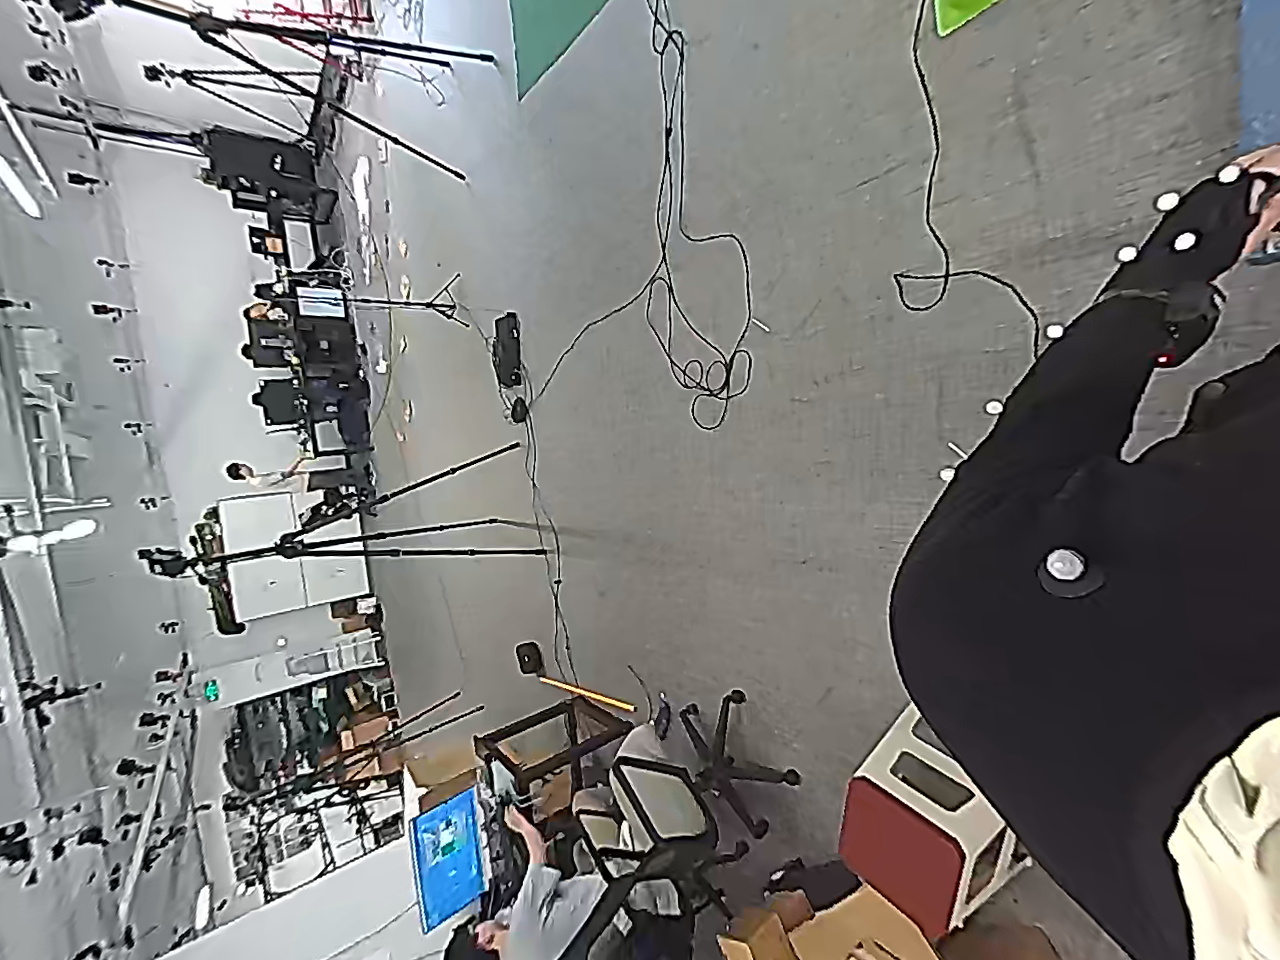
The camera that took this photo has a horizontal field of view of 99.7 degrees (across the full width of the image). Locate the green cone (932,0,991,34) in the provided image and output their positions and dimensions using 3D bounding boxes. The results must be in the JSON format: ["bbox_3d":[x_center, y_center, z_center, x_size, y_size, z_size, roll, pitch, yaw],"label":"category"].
[{"bbox_3d":[0.712,-1.280,1.284,0.202,0.368,0.200,-6,93,55],"label":"green cone"}]
